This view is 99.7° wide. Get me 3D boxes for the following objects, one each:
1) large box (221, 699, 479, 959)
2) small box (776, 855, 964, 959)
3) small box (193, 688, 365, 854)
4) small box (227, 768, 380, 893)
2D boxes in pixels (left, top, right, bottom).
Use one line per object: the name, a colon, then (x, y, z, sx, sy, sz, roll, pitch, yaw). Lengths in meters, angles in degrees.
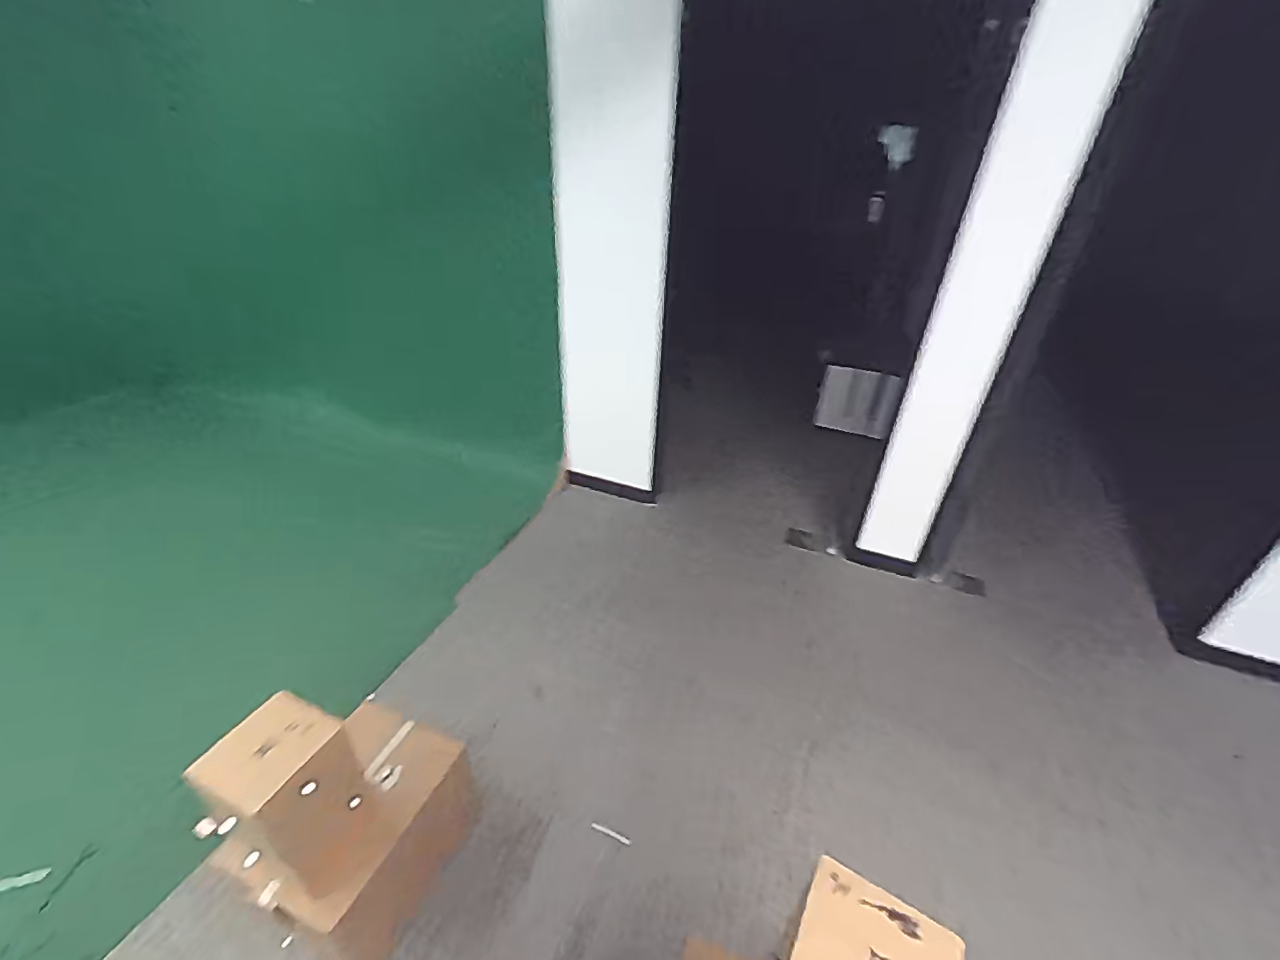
large box: (-0.635, 0.817, 1.266, 0.320, 0.320, 0.408, 15, 33, 17)
small box: (0.245, 0.600, 0.623, 0.168, 0.176, 0.179, 22, 36, 25)
small box: (-0.632, 0.521, 0.971, 0.168, 0.176, 0.179, 16, 34, 19)
small box: (-0.647, 0.657, 1.063, 0.168, 0.176, 0.179, 16, 34, 19)
